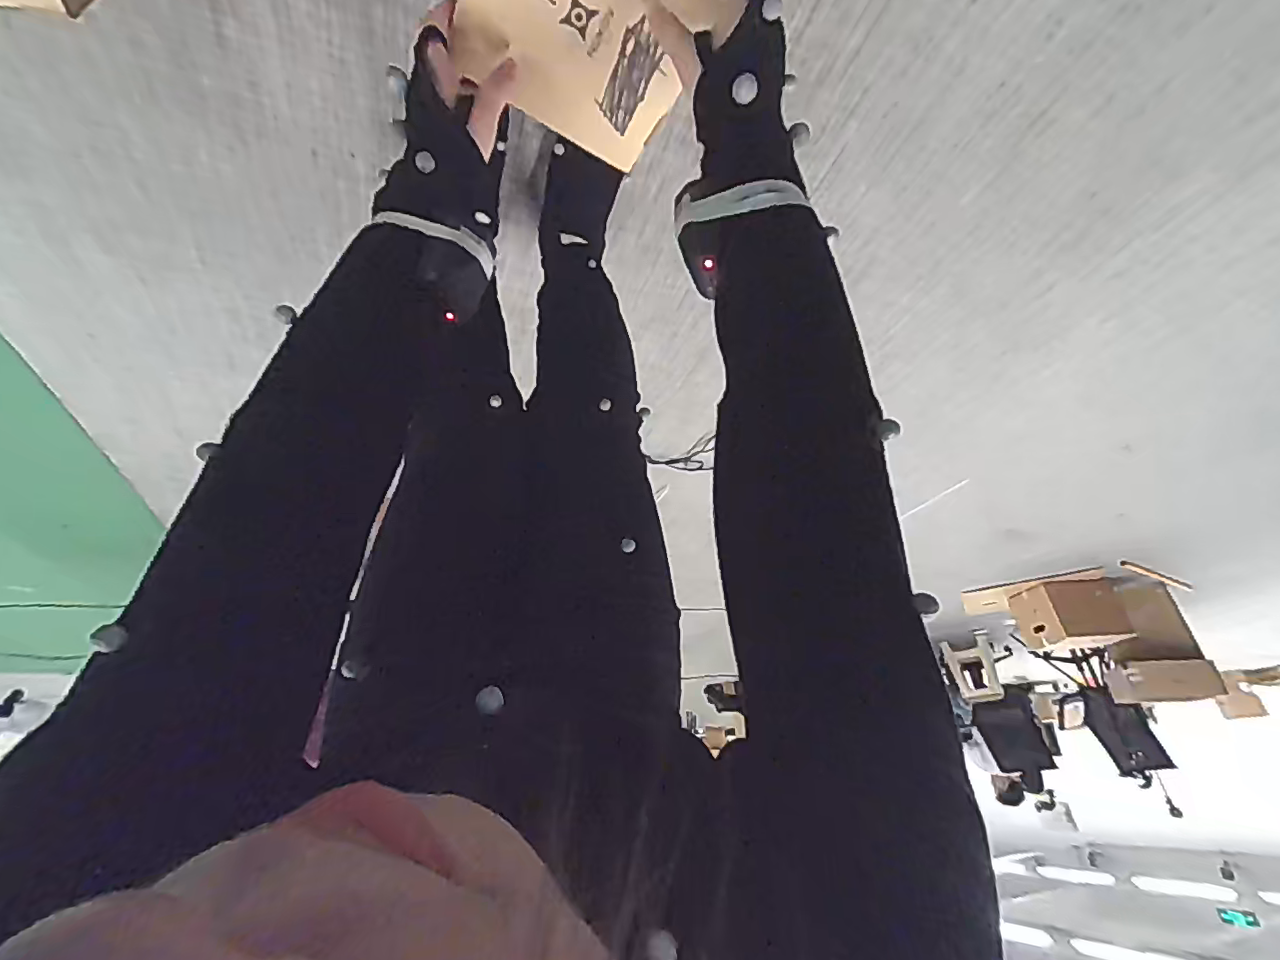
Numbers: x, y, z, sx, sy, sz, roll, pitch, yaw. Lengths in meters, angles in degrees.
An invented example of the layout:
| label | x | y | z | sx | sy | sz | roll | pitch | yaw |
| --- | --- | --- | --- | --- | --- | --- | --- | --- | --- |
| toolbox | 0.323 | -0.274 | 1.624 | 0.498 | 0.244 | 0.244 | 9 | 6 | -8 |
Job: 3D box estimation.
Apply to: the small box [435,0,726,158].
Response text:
| label | x | y | z | sx | sy | sz | roll | pitch | yaw |
| --- | --- | --- | --- | --- | --- | --- | --- | --- | --- |
| small box | -0.047 | -0.422 | 0.441 | 0.179 | 0.176 | 0.168 | 15 | 147 | -30 |
